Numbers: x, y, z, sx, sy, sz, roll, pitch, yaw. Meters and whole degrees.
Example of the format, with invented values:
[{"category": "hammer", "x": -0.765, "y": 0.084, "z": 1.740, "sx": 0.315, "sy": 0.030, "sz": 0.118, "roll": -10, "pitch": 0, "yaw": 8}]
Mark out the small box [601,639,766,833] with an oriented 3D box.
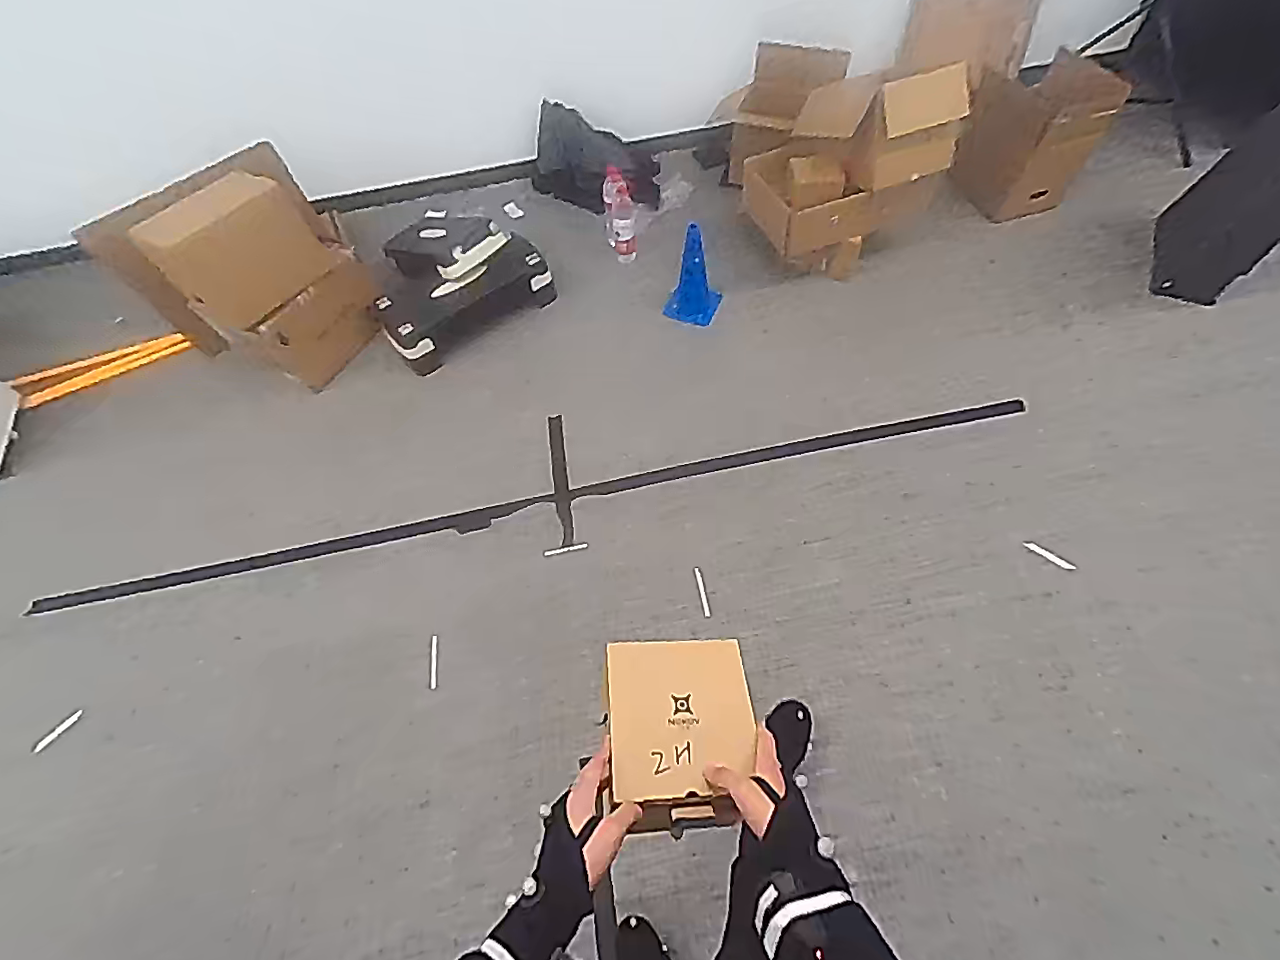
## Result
[{"category": "small box", "x": 0.038, "y": 0.317, "z": 0.672, "sx": 0.168, "sy": 0.176, "sz": 0.179, "roll": 0, "pitch": 48, "yaw": -7}]
